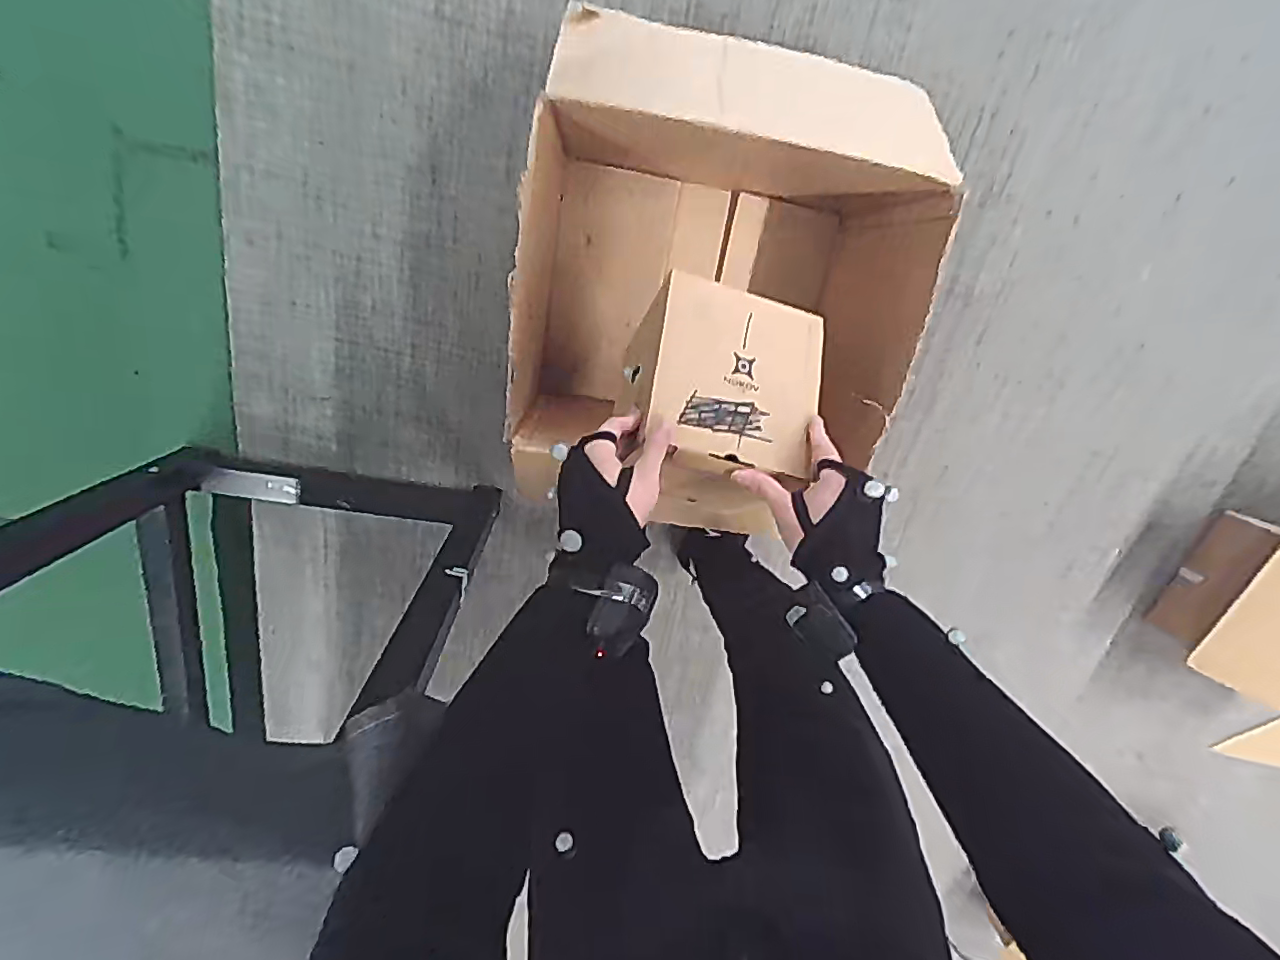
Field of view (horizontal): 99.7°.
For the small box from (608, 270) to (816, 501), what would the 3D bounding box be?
[{"bbox_3d":[0.068,-0.086,0.591,0.168,0.176,0.179,13,73,-13],"label":"small box"}]
